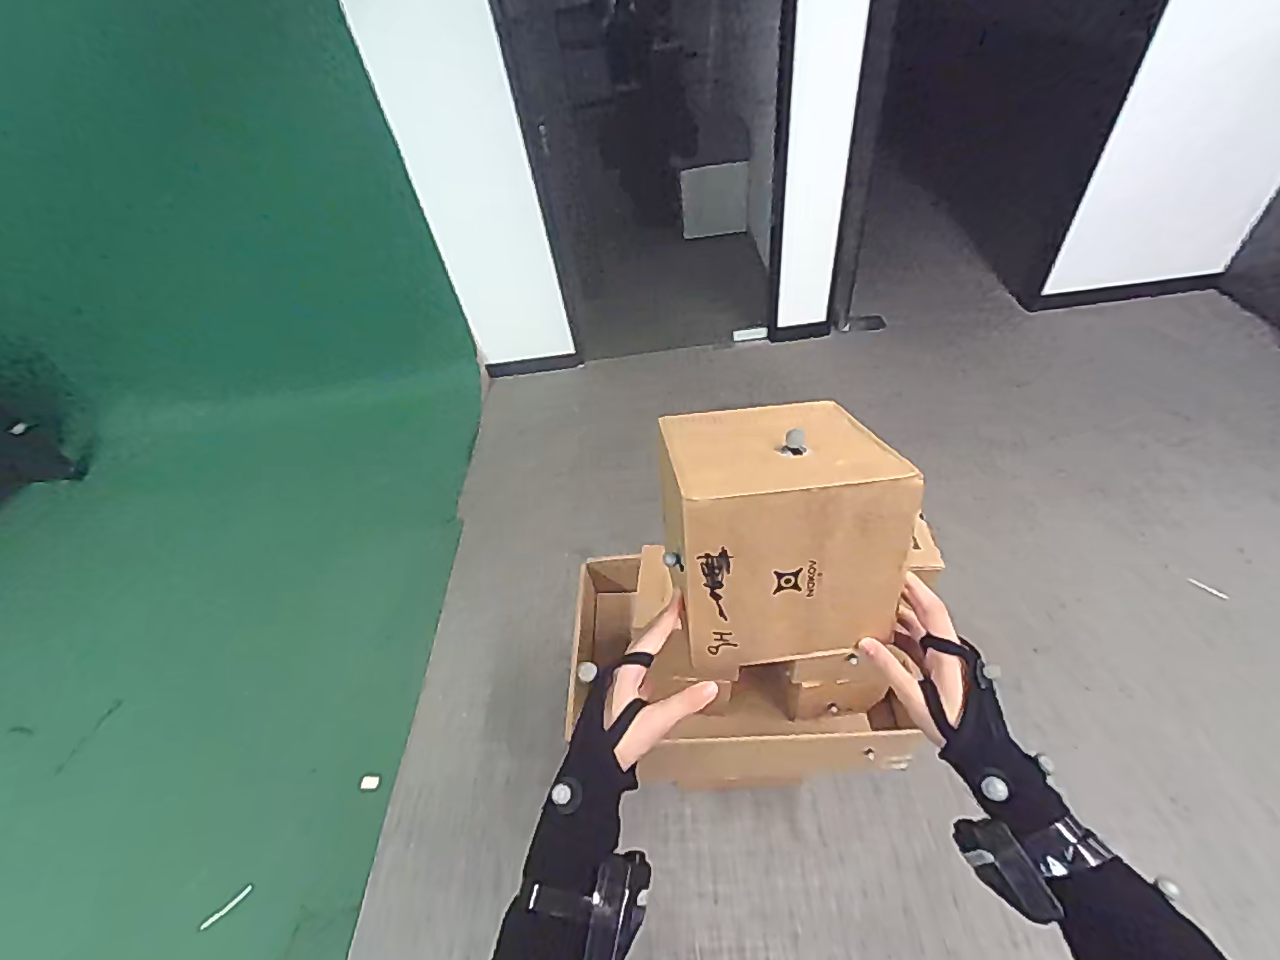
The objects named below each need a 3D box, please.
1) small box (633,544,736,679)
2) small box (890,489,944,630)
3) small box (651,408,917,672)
[{"bbox_3d":[0.090,0.233,0.948,0.179,0.176,0.168,2,46,8],"label":"small box"},{"bbox_3d":[0.312,0.110,0.798,0.179,0.176,0.168,-3,47,9],"label":"small box"},{"bbox_3d":[0.110,0.041,0.487,0.179,0.168,0.176,-6,26,-3],"label":"small box"}]
